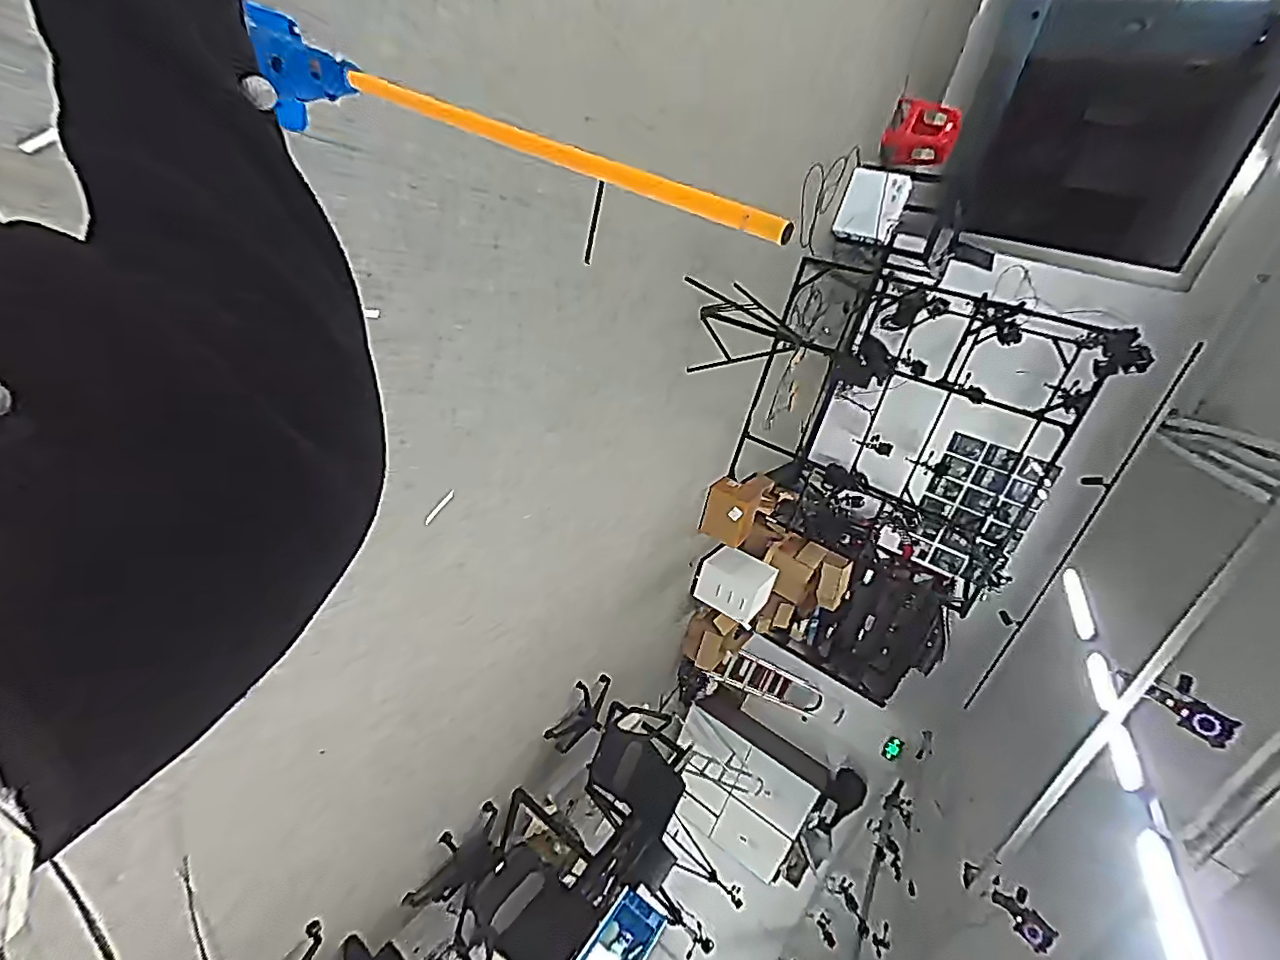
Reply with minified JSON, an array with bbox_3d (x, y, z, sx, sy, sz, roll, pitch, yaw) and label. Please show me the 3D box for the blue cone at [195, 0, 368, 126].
[{"bbox_3d":[-0.633,-0.767,1.010,0.193,0.380,0.192,-24,133,-53],"label":"blue cone"}]
